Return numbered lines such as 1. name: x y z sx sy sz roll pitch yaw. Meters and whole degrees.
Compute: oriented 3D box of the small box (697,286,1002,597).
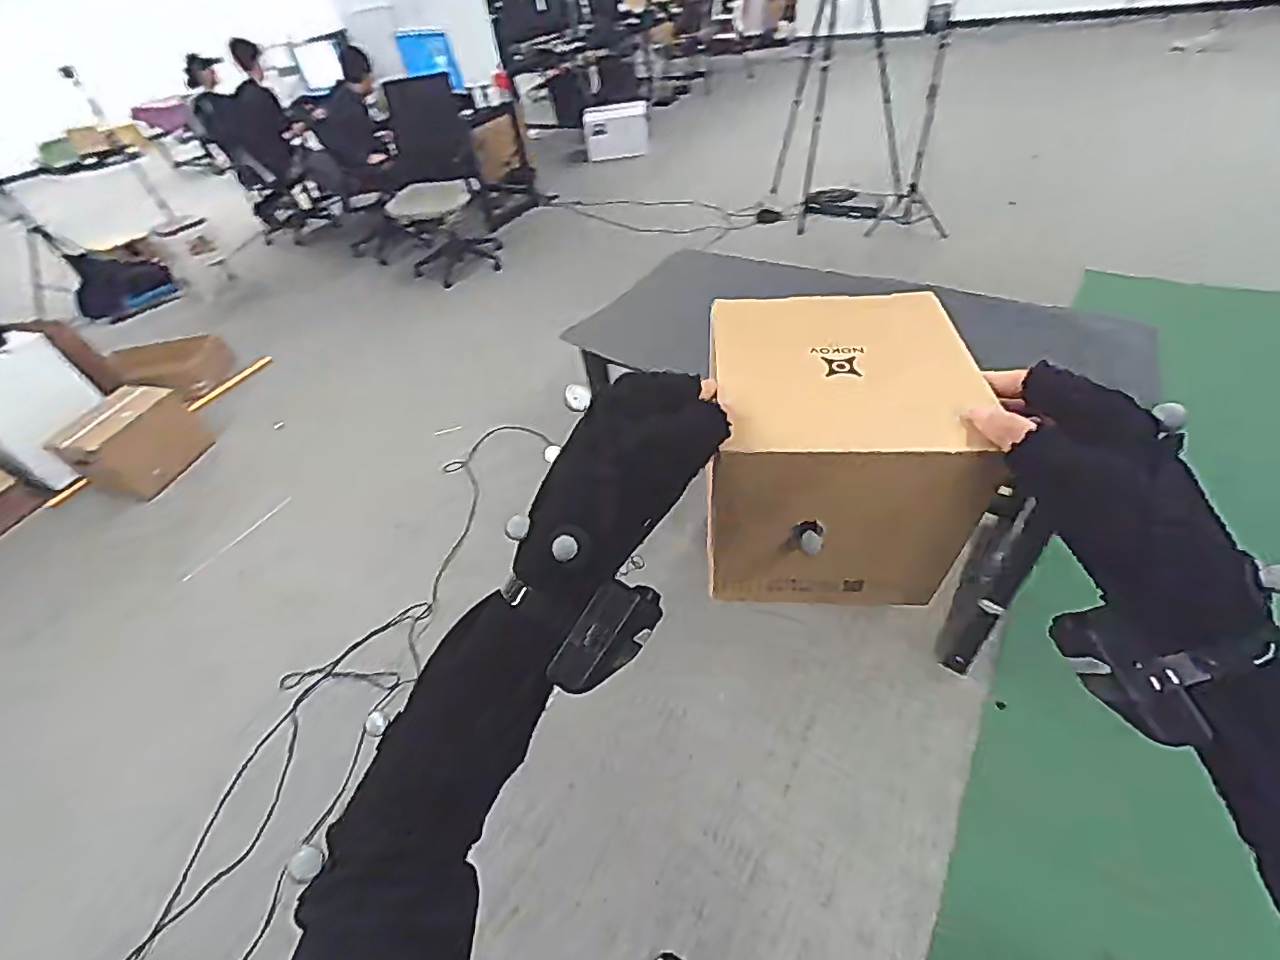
1. small box: 0.128 -0.025 0.412 0.168 0.176 0.179 -1 47 6
